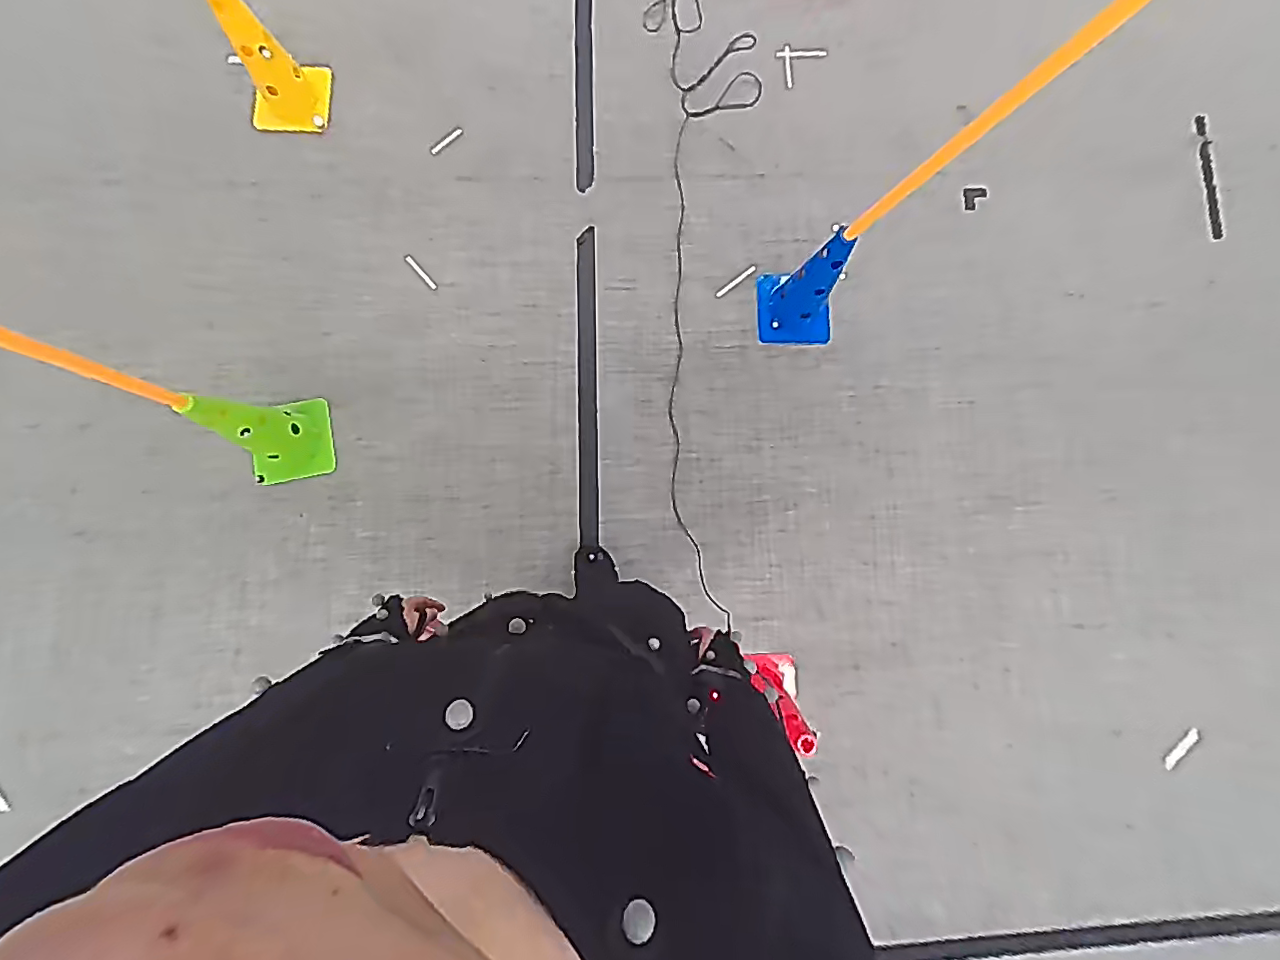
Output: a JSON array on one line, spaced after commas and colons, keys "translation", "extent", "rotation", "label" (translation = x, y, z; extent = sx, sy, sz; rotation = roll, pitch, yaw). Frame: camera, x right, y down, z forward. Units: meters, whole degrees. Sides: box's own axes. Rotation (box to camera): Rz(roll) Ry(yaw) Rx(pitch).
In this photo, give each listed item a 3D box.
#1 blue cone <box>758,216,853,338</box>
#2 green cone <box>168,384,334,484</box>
[{"translation": [0.427, -0.505, 1.322], "extent": [0.193, 0.380, 0.192], "rotation": [1, 81, -2], "label": "blue cone"}, {"translation": [-0.880, -0.130, 1.202], "extent": [0.200, 0.368, 0.202], "rotation": [-12, 81, -4], "label": "green cone"}]
